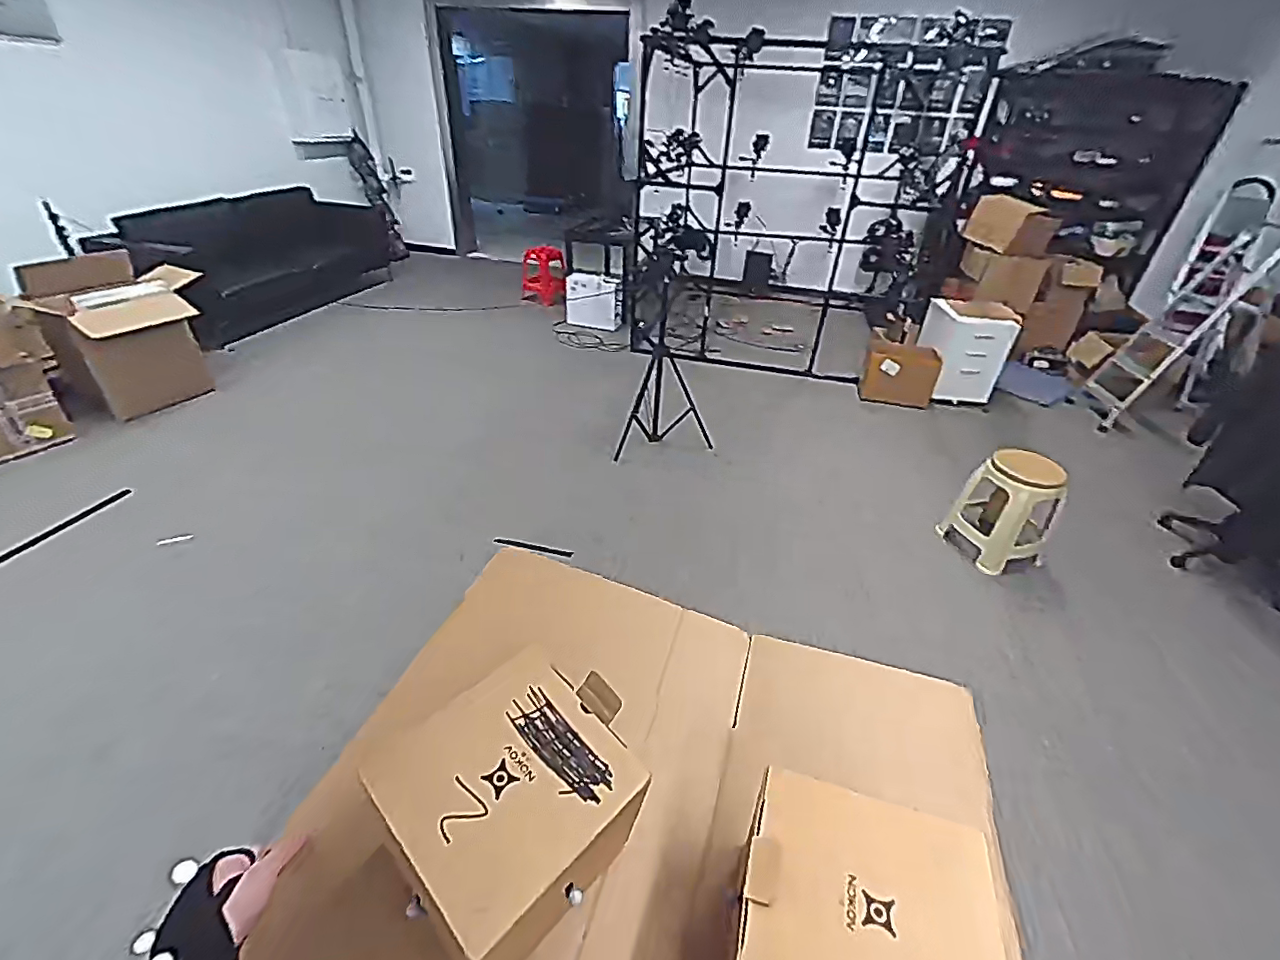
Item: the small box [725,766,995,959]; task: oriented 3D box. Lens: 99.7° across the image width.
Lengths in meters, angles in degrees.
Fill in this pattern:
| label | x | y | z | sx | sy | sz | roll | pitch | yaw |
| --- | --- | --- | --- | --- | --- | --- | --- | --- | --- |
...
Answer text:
| label | x | y | z | sx | sy | sz | roll | pitch | yaw |
| --- | --- | --- | --- | --- | --- | --- | --- | --- | --- |
| small box | 0.170 | 0.383 | 0.452 | 0.179 | 0.176 | 0.168 | 10 | 36 | 15 |
